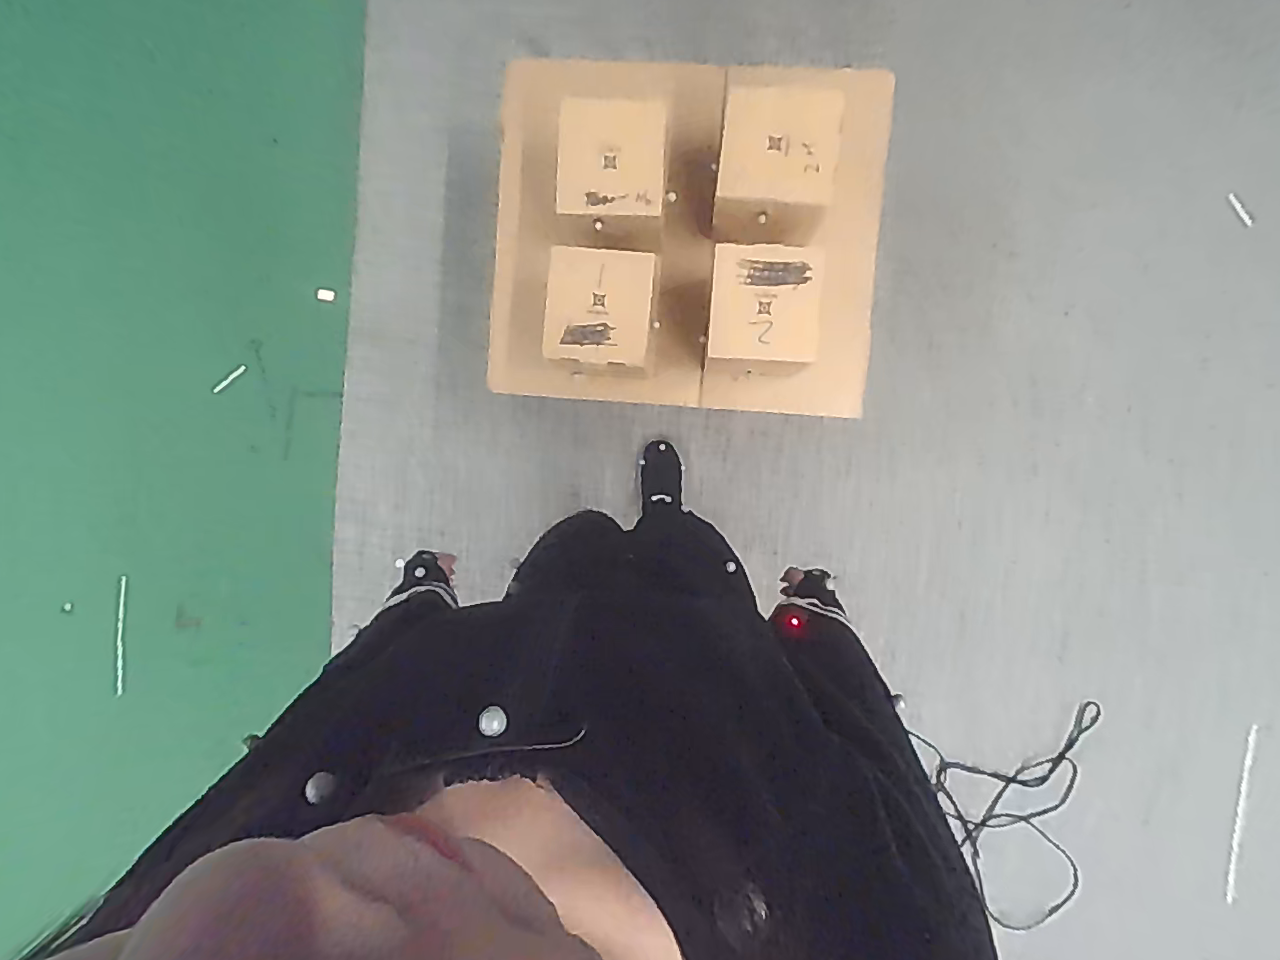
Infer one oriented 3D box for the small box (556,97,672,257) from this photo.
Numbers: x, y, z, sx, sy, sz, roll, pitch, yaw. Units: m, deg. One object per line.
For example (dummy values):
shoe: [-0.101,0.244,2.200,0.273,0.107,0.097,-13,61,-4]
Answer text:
small box: [-0.035,-0.495,0.901,0.168,0.176,0.179,4,92,6]
